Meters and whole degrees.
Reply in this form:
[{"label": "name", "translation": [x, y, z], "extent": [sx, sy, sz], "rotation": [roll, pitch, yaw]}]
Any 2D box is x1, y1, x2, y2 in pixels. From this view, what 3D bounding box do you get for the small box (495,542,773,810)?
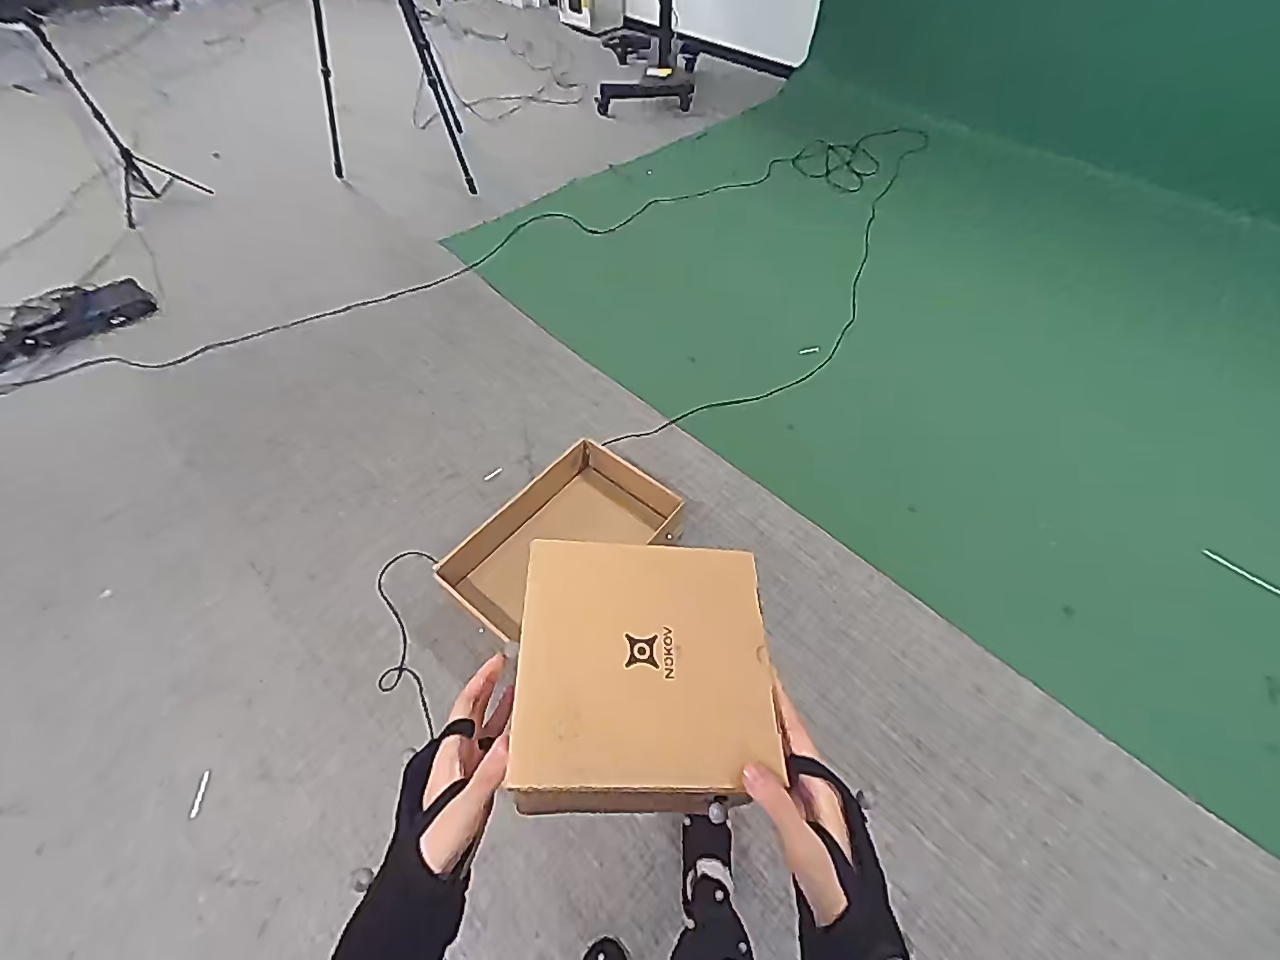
[{"label": "small box", "translation": [-0.014, 0.166, 0.439], "extent": [0.179, 0.176, 0.168], "rotation": [5, 55, -9]}]
